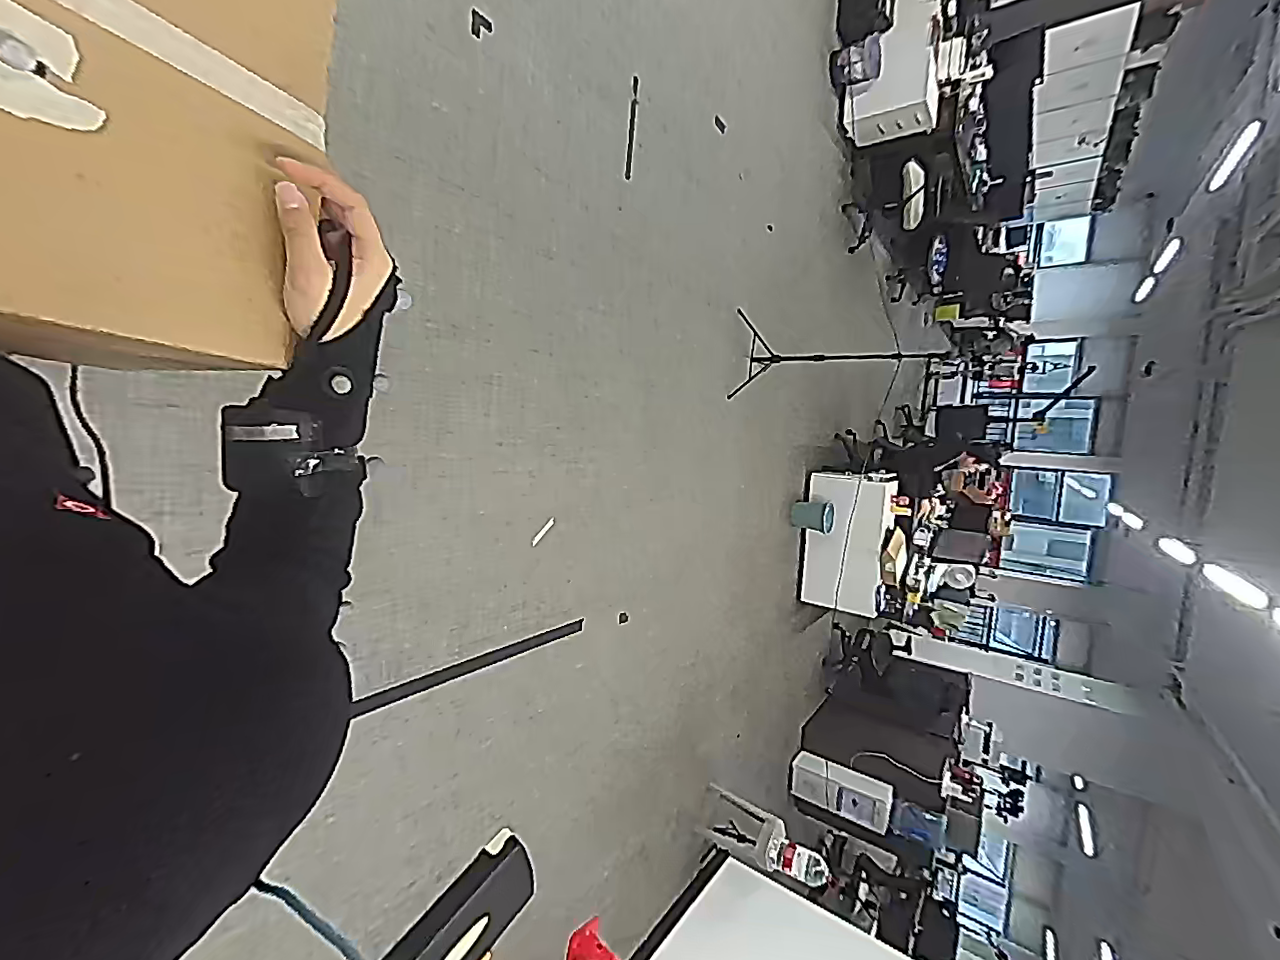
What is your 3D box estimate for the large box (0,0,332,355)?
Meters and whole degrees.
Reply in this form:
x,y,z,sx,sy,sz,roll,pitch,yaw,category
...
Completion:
x,y,z,sx,sy,sz,roll,pitch,yaw,category
-0.447,-0.258,0.271,0.408,0.320,0.320,4,94,-61,large box
